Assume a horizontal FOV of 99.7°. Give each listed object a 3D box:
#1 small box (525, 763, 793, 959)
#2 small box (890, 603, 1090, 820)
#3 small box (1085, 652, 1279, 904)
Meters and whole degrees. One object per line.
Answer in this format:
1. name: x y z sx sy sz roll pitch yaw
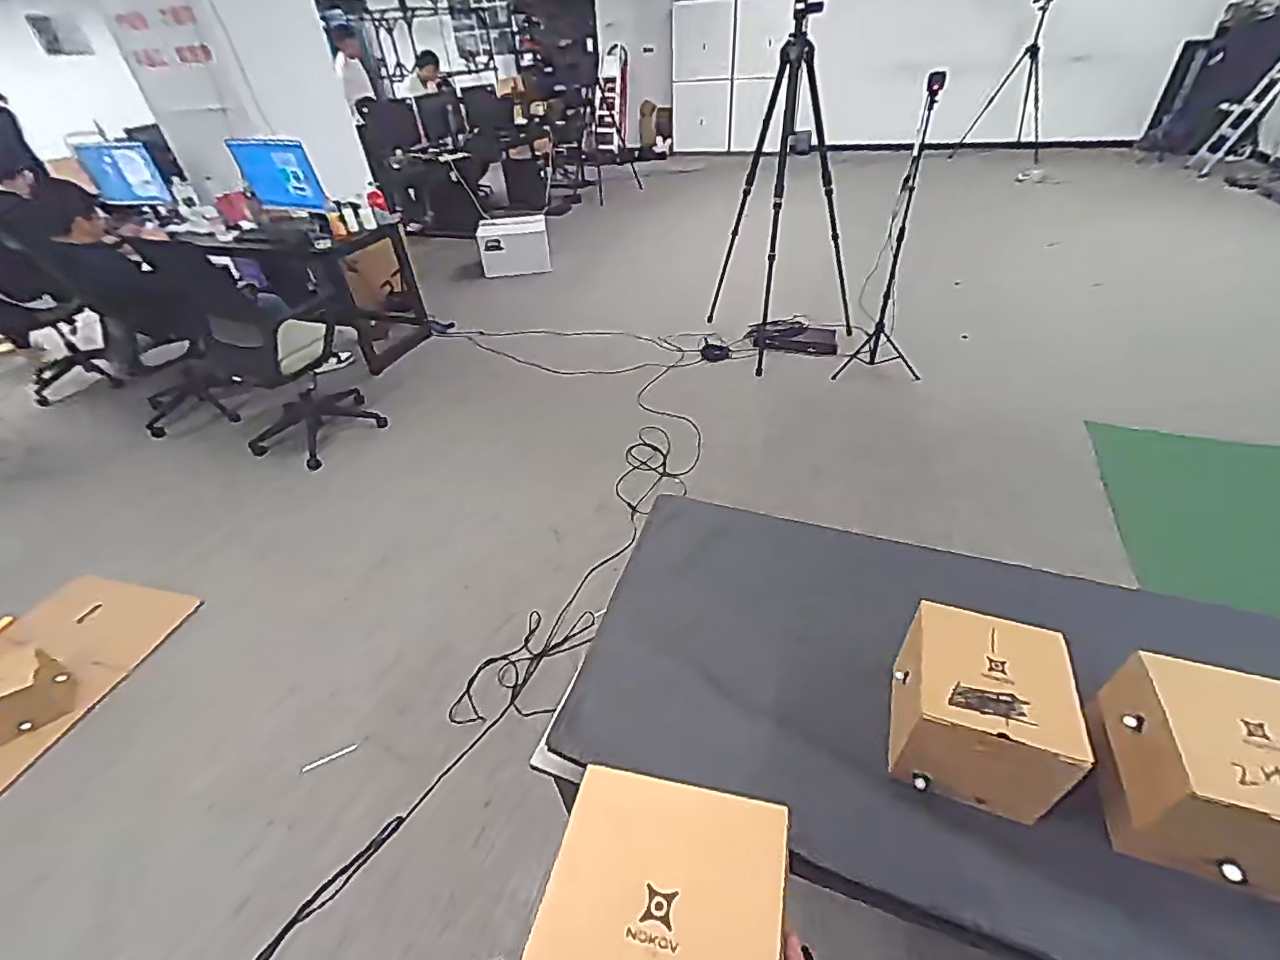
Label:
1. small box: 0.024 0.357 0.412 0.168 0.176 0.179 3 38 17
2. small box: 0.430 0.295 0.695 0.168 0.176 0.179 12 40 19
3. small box: 0.657 0.337 0.621 0.168 0.176 0.179 10 41 18
